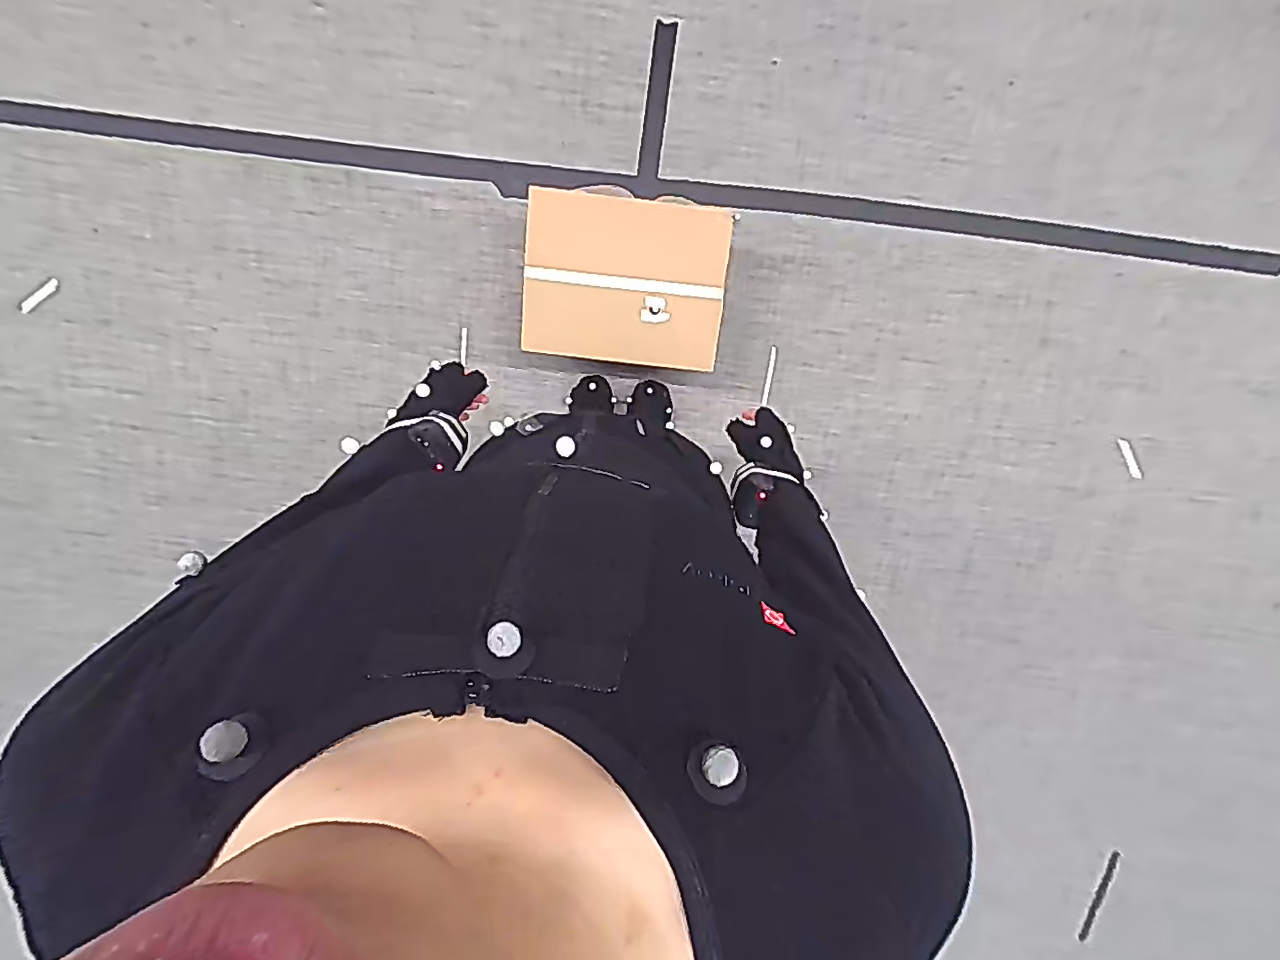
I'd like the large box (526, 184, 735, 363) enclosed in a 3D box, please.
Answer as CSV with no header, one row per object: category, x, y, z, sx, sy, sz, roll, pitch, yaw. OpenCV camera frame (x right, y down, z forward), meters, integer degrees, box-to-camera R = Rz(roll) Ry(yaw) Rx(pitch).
large box,-0.030,-0.444,1.227,0.408,0.320,0.320,6,105,-3
